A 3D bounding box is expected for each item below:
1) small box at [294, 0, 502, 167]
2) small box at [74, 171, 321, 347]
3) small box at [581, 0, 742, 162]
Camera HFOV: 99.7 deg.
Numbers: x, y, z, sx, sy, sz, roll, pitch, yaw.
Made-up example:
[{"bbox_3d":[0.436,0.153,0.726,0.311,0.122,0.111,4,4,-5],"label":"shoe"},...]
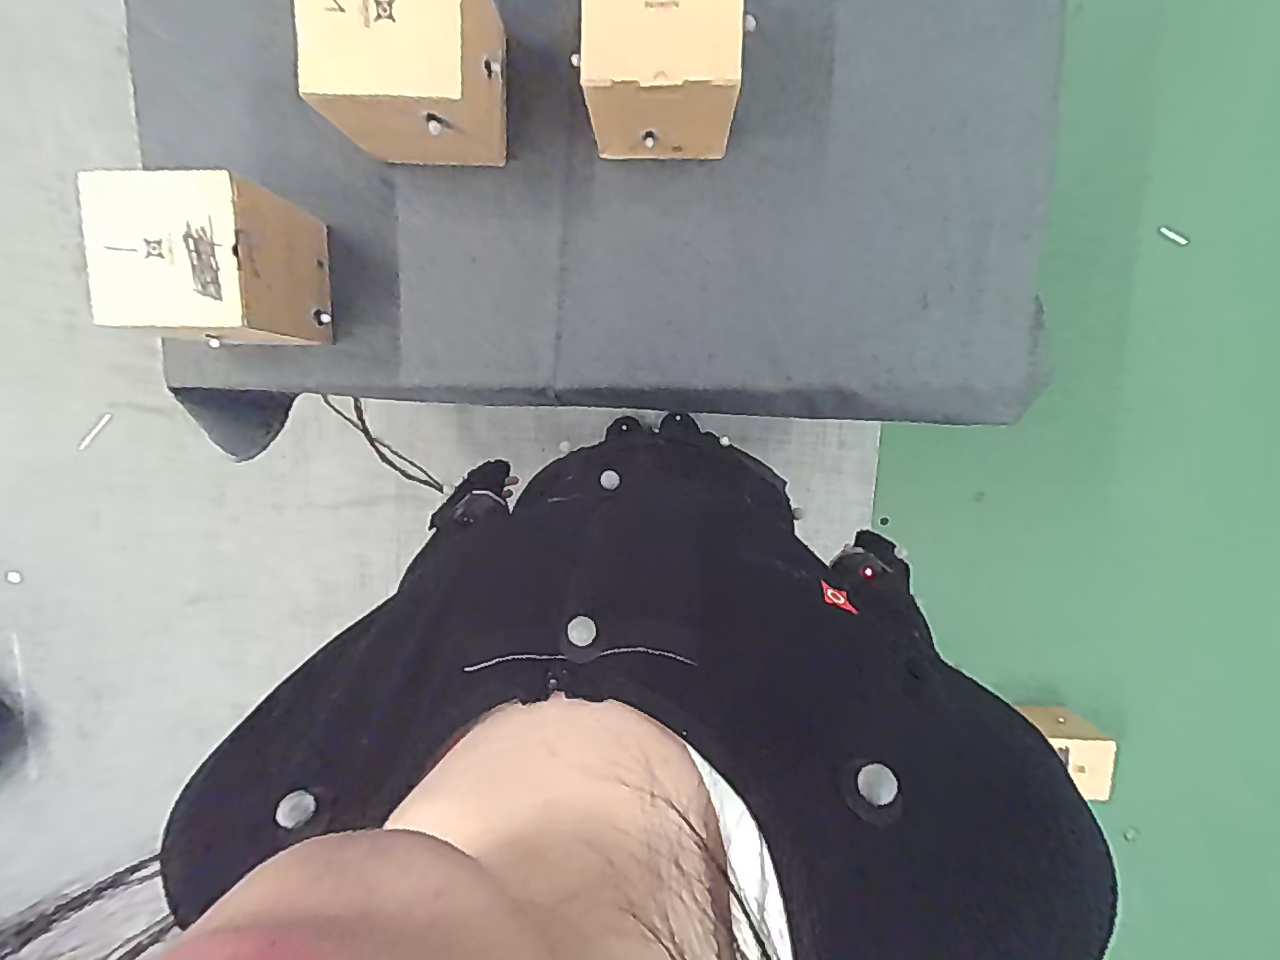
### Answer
[{"bbox_3d":[-0.267,-0.489,0.632,0.179,0.176,0.168,3,98,1],"label":"small box"},{"bbox_3d":[-0.522,-0.260,0.670,0.179,0.176,0.168,1,97,2],"label":"small box"},{"bbox_3d":[0.023,-0.501,0.626,0.168,0.176,0.179,1,98,1],"label":"small box"}]
